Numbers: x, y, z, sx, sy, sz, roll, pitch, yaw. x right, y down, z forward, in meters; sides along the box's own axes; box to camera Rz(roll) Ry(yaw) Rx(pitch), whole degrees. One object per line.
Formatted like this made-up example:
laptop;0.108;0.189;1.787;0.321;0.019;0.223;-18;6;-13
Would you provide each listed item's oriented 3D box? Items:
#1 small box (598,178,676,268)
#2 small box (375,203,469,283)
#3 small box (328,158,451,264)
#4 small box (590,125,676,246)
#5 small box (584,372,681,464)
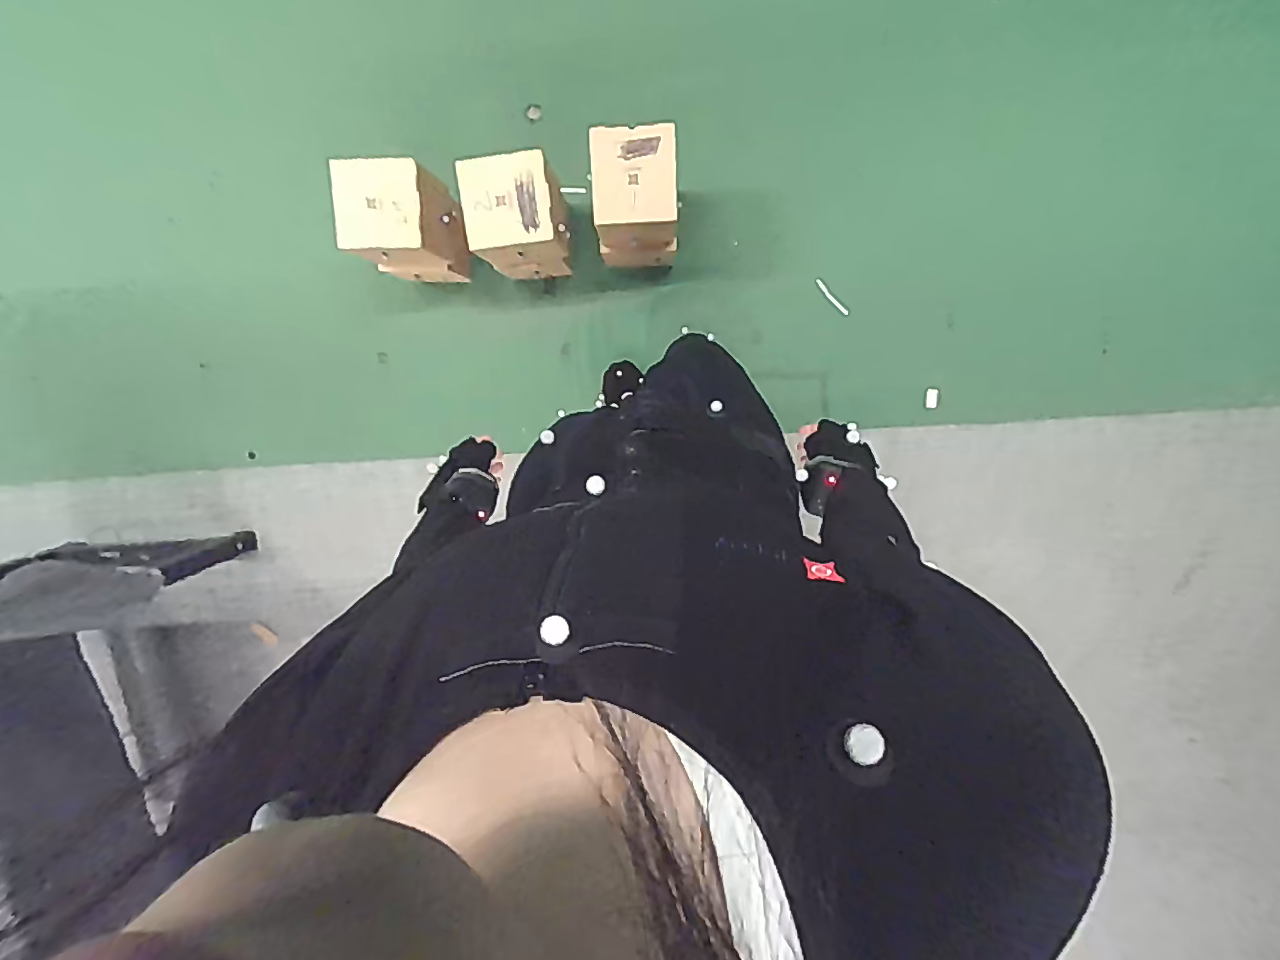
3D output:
small box;-0.005;-0.606;1.282;0.179;0.176;0.168;0;101;3
small box;-0.522;-0.578;1.306;0.168;0.176;0.179;2;101;2
small box;-0.520;-0.558;1.142;0.179;0.176;0.168;1;101;2
small box;-0.013;-0.599;1.117;0.168;0.176;0.179;-2;101;2
small box;-0.025;-0.163;1.383;0.179;0.176;0.168;30;116;15
